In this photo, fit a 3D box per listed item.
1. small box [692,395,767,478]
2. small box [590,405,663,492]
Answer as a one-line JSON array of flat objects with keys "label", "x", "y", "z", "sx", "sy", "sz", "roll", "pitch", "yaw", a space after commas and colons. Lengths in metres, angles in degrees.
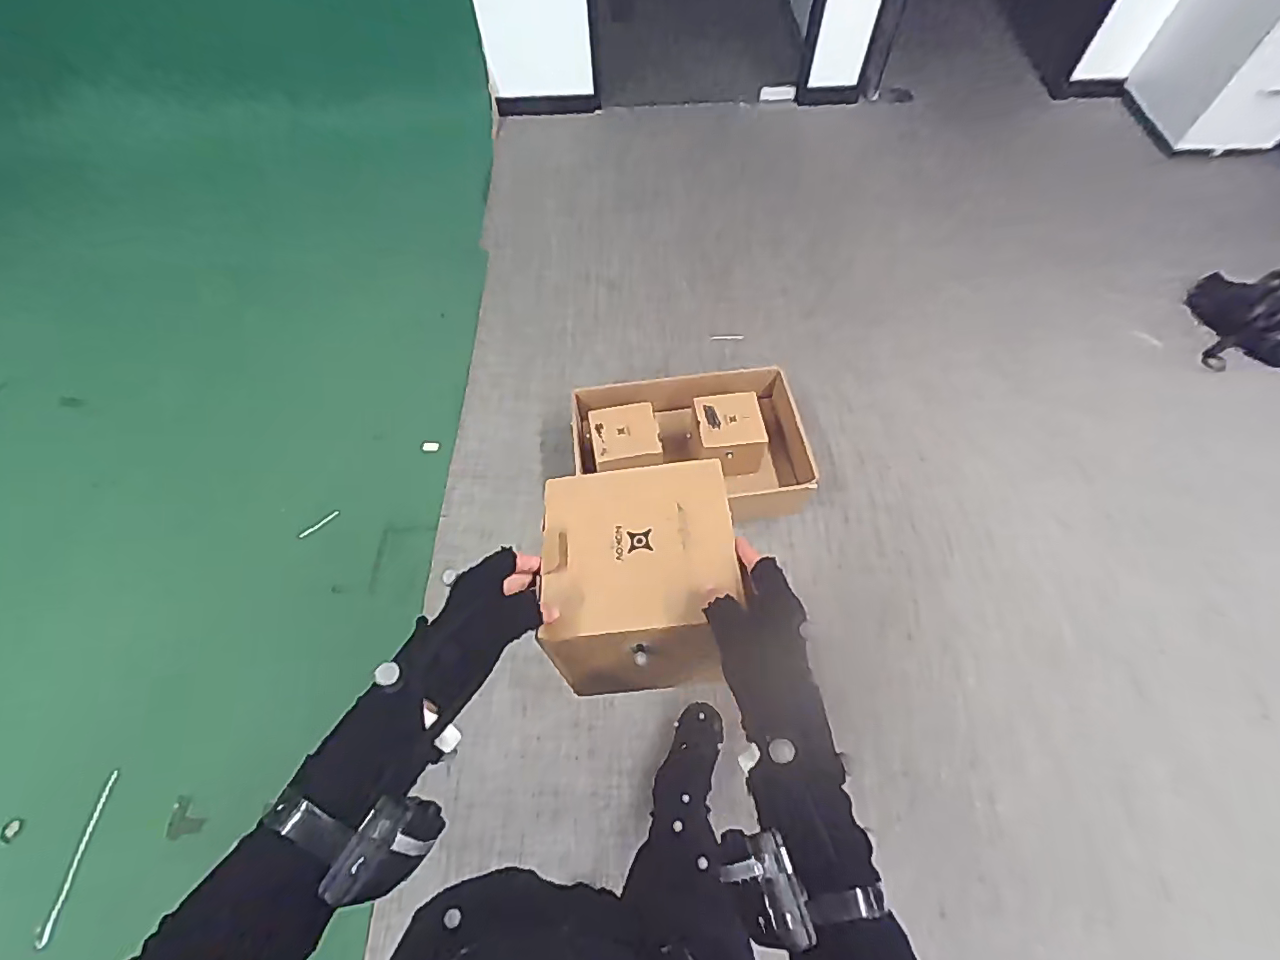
[{"label": "small box", "x": 0.240, "y": -0.117, "z": 1.509, "sx": 0.179, "sy": 0.176, "sz": 0.168, "roll": -5, "pitch": 61, "yaw": -2}, {"label": "small box", "x": -0.040, "y": -0.084, "z": 1.495, "sx": 0.179, "sy": 0.176, "sz": 0.168, "roll": -8, "pitch": 61, "yaw": -5}]
